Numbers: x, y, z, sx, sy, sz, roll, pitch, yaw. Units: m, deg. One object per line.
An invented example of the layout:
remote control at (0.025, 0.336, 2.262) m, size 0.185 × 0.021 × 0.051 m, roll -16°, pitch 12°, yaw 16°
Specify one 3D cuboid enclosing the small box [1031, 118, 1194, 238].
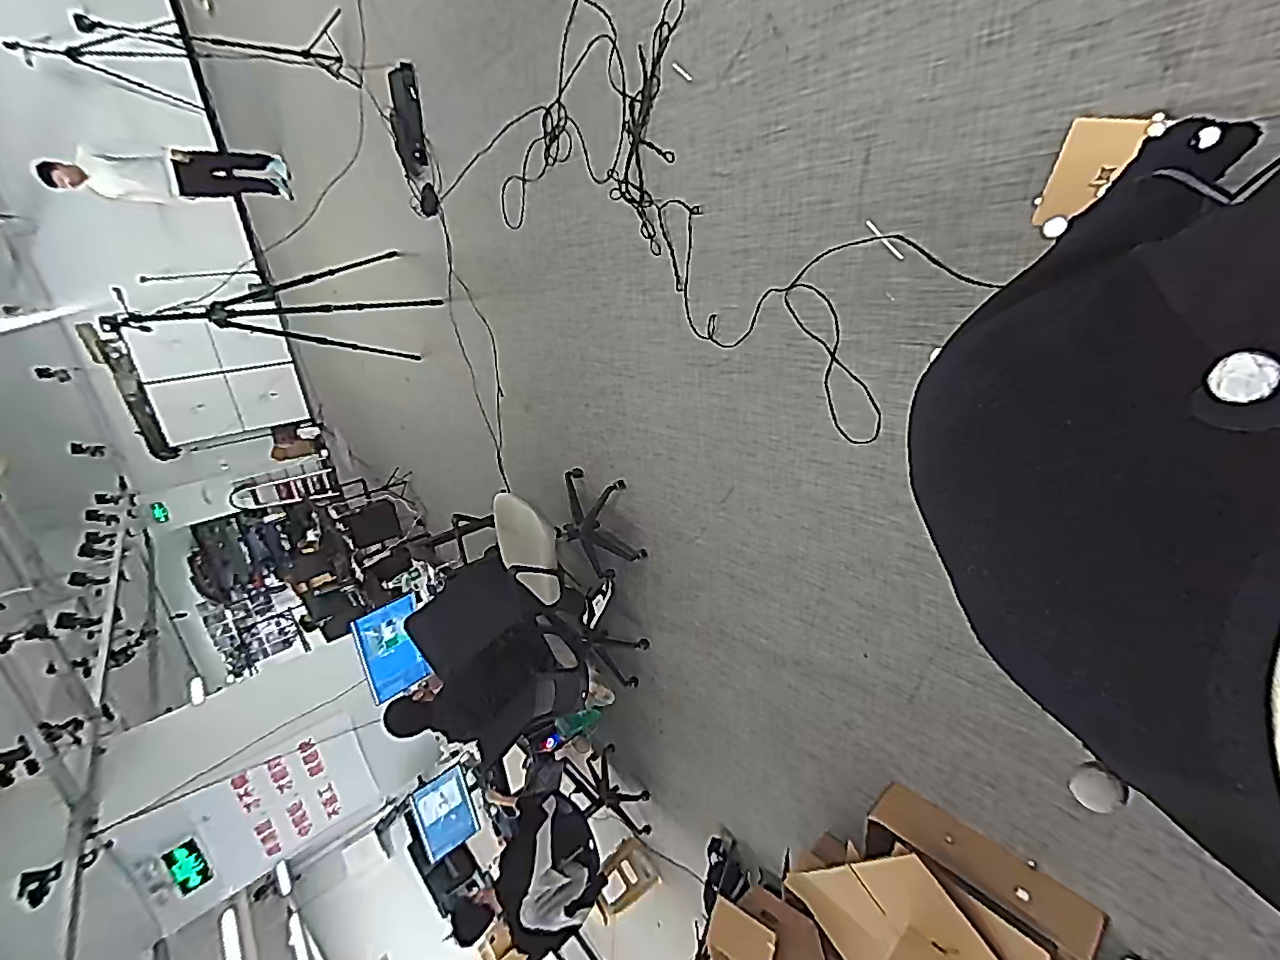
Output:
small box at (0.881, -0.561, 1.009) m, size 0.168 × 0.176 × 0.179 m, roll 33°, pitch 132°, yaw 38°
